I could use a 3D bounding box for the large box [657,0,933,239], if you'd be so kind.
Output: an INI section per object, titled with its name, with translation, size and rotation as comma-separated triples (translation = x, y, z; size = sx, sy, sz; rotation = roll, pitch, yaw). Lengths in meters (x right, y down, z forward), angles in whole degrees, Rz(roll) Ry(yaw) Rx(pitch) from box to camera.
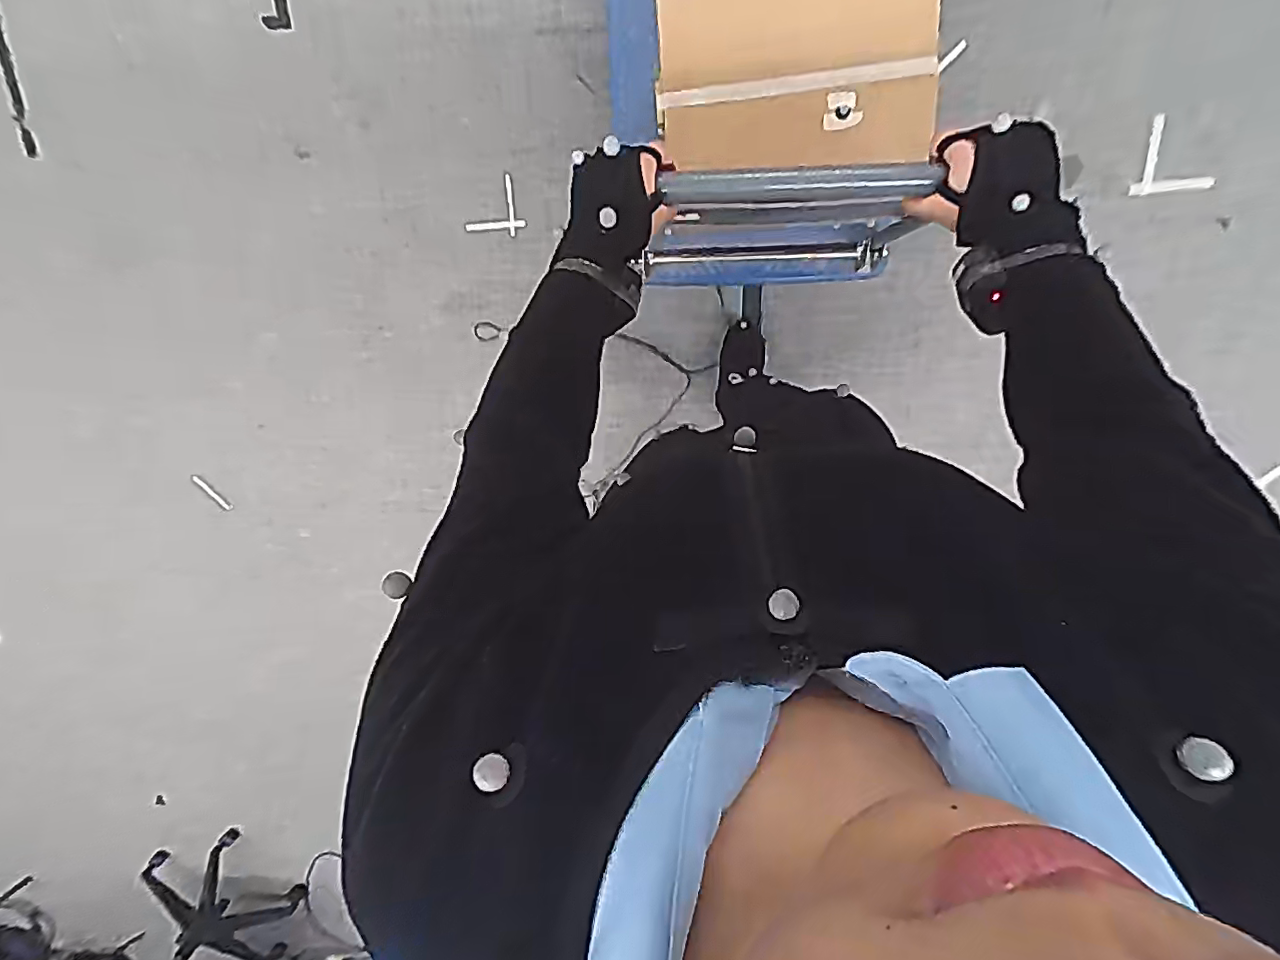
[large box]
translation = 0.247, -0.641, 0.971
size = 0.408, 0.320, 0.320
rotation = -4, 107, 5
